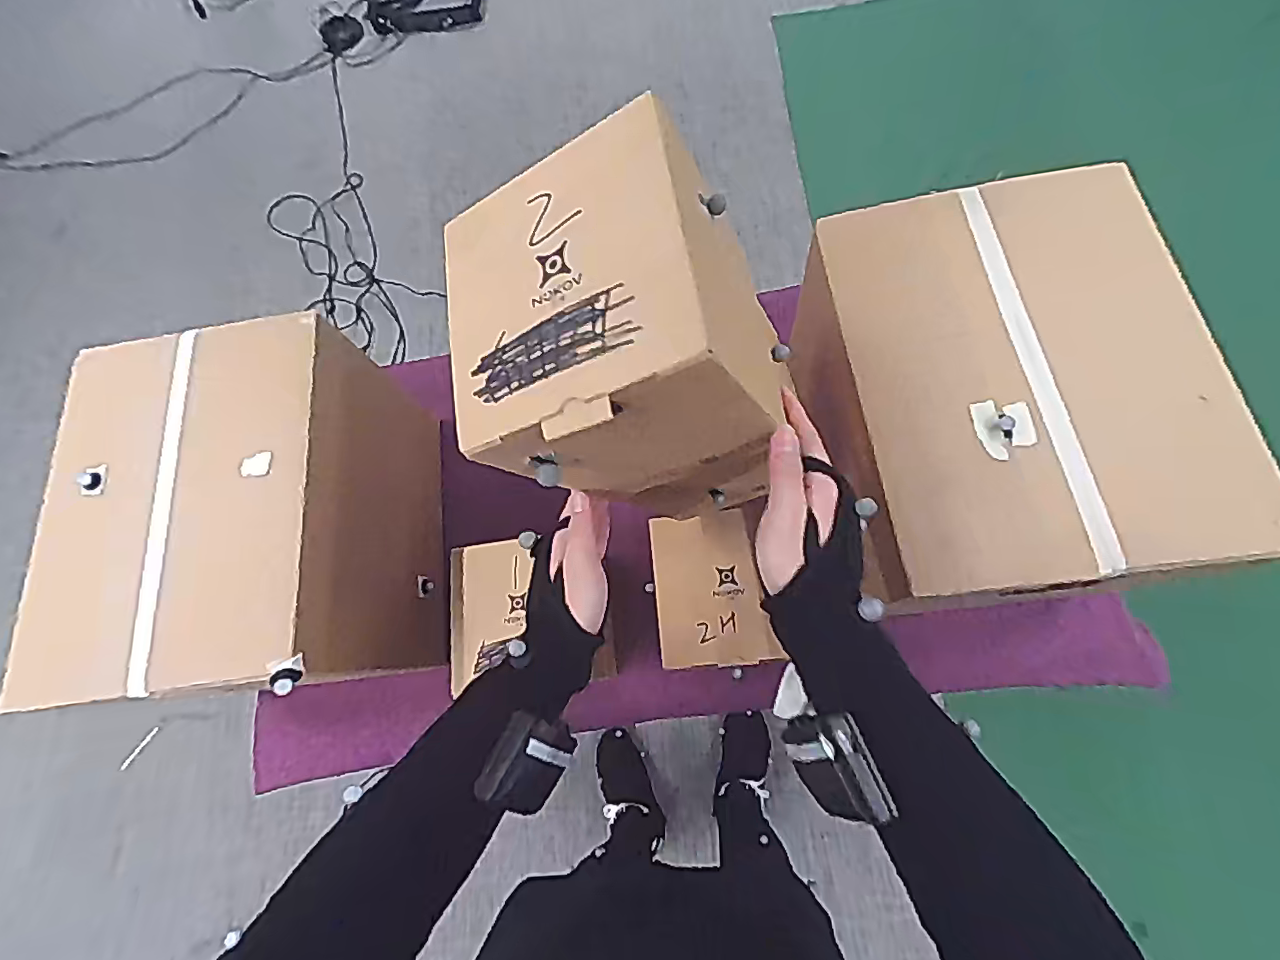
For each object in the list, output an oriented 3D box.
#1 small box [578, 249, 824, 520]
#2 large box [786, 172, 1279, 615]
[{"bbox_3d":[0.064,-0.074,0.524,0.168,0.176,0.179,-21,70,22],"label":"small box"},{"bbox_3d":[0.380,-0.066,0.645,0.320,0.320,0.408,-8,72,6],"label":"large box"}]
